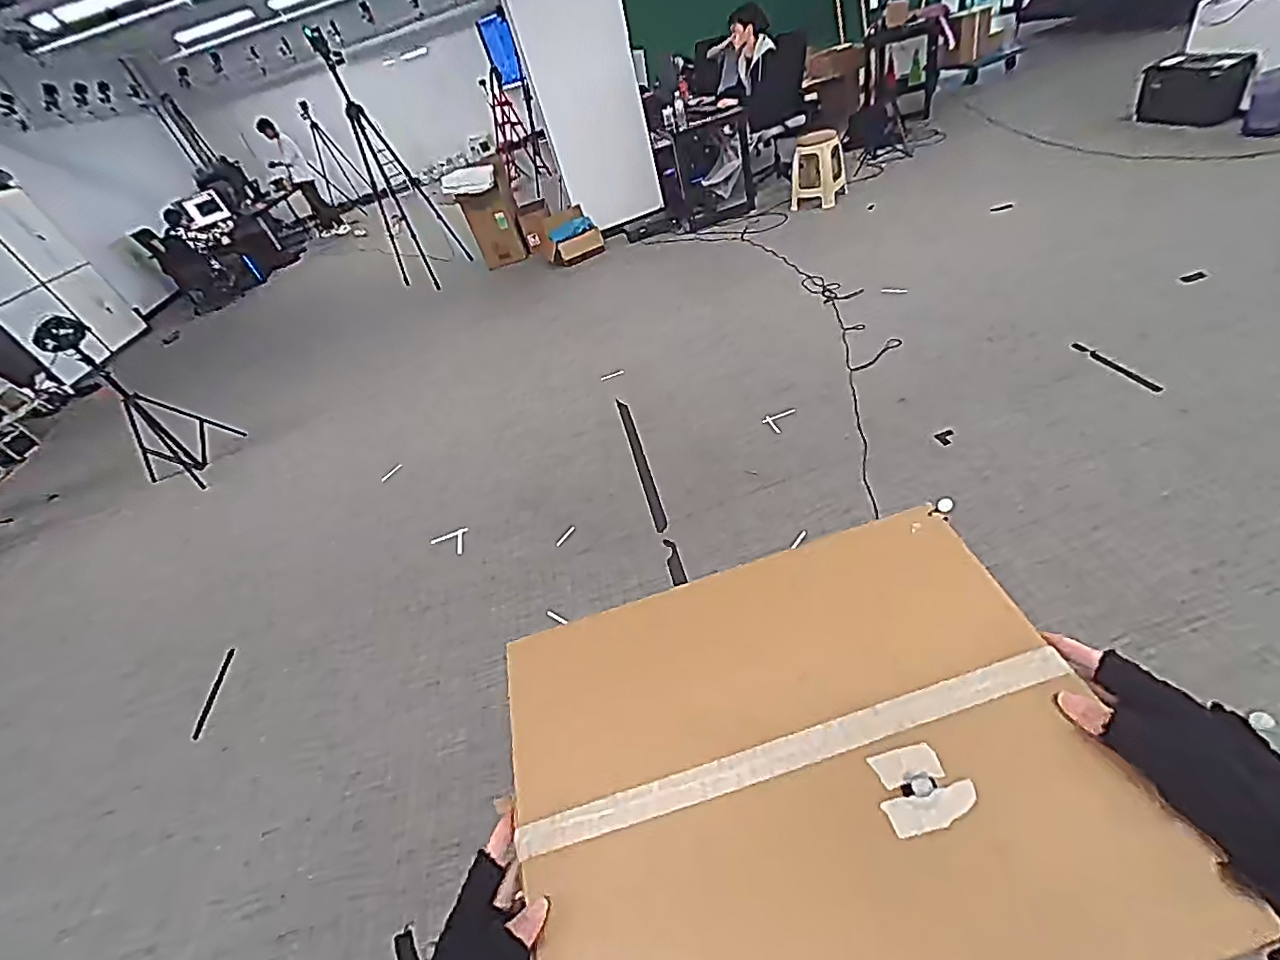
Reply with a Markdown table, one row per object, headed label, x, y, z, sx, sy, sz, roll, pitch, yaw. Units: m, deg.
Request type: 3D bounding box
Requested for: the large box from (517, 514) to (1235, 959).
| label | x | y | z | sx | sy | sz | roll | pitch | yaw |
| --- | --- | --- | --- | --- | --- | --- | --- | --- | --- |
| large box | 0.140 | 0.296 | 0.506 | 0.408 | 0.320 | 0.320 | -18 | 48 | -1 |
